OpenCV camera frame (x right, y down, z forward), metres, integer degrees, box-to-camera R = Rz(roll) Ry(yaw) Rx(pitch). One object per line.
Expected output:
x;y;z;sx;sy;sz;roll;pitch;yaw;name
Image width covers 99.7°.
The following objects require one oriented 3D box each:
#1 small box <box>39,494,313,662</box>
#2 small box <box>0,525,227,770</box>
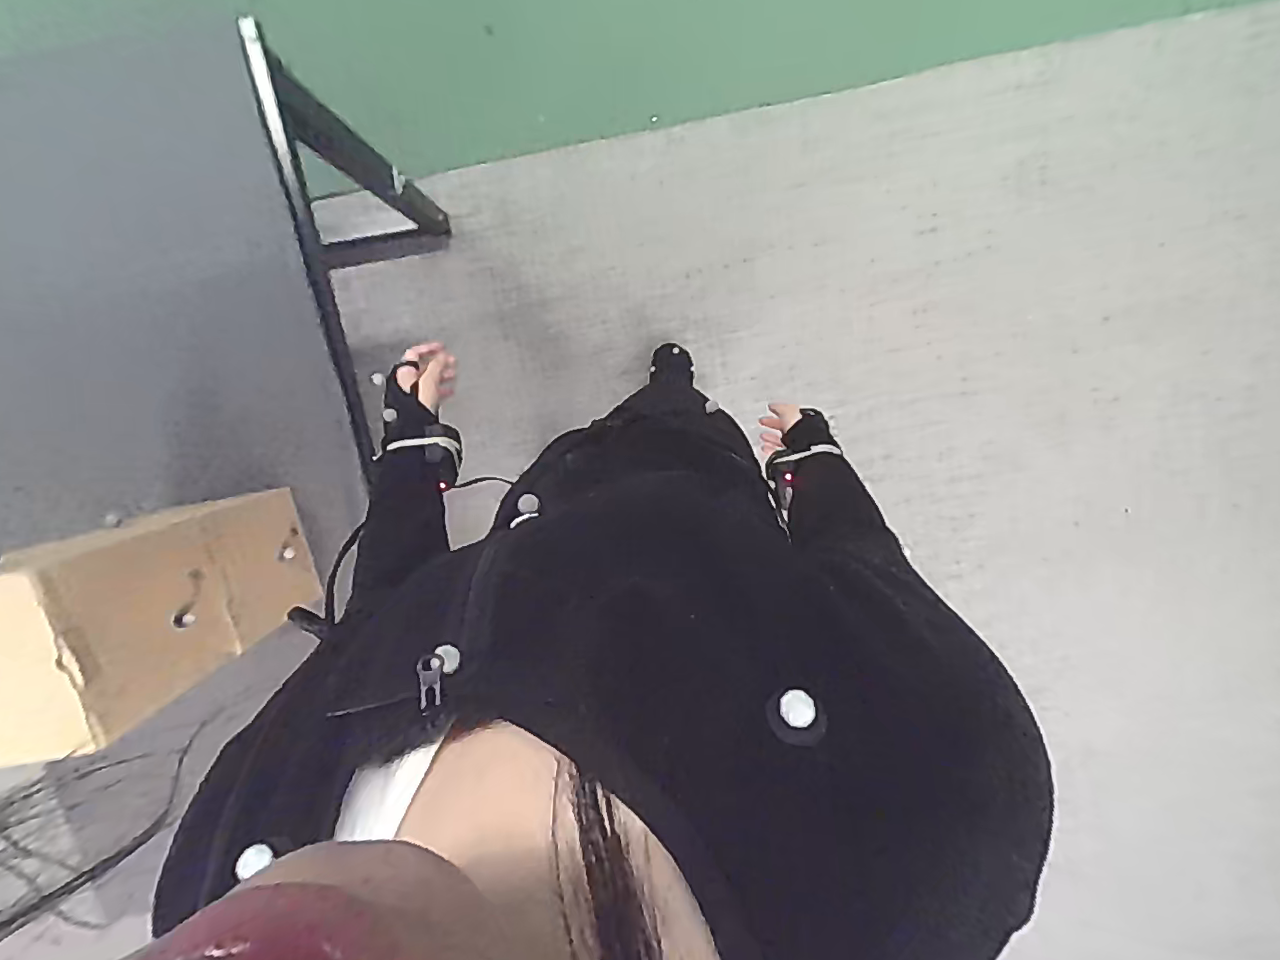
-0.560;0.124;0.678;0.179;0.176;0.168;-11;100;1;small box
-0.559;0.152;0.518;0.179;0.176;0.168;-11;100;1;small box
